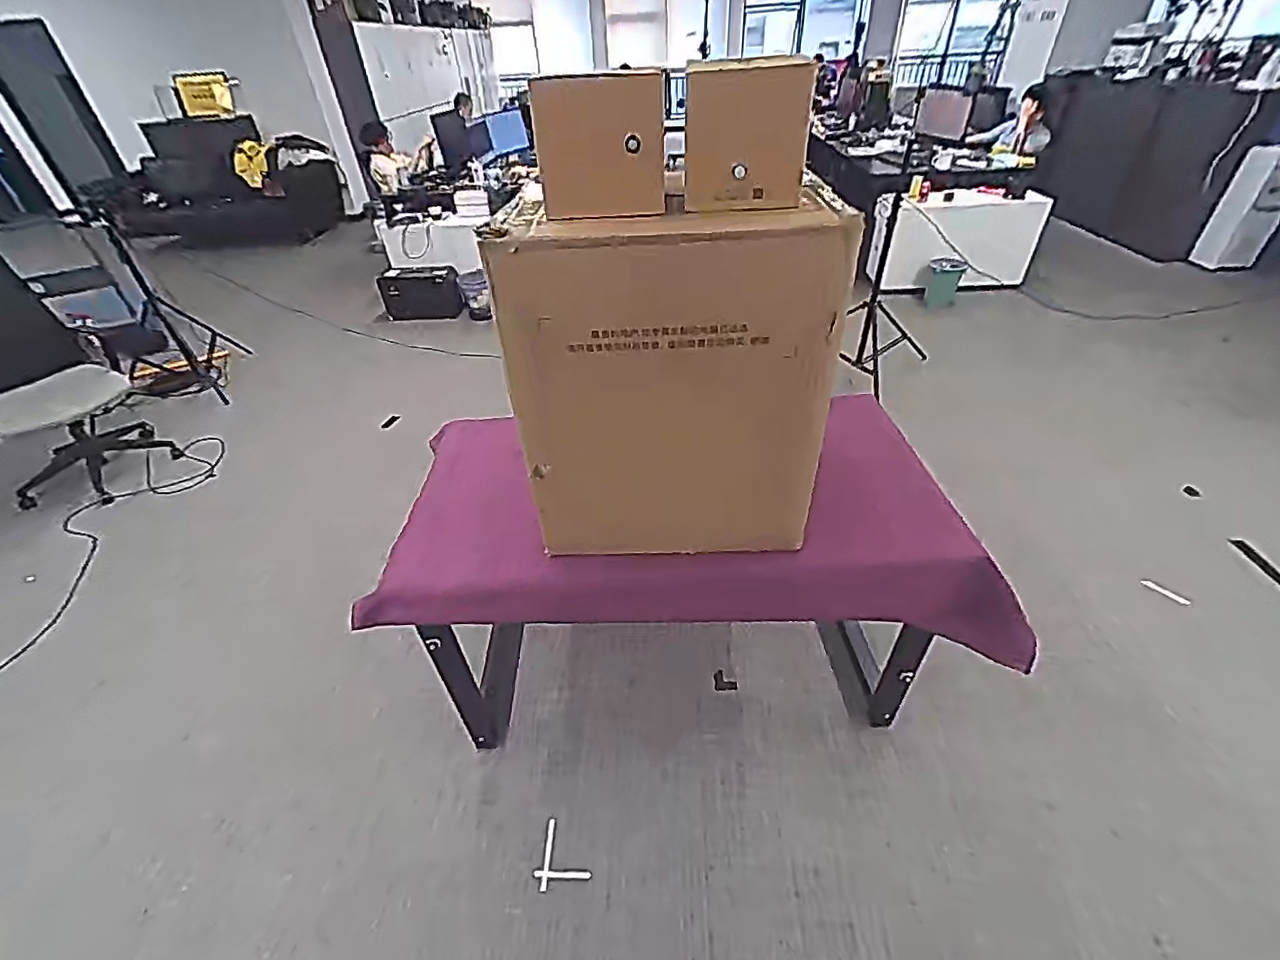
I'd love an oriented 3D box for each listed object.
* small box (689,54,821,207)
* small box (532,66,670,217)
[{"bbox_3d":[0.156,-0.510,0.790,0.168,0.176,0.179,0,40,7],"label":"small box"},{"bbox_3d":[-0.052,-0.495,0.789,0.179,0.176,0.168,-5,38,-2],"label":"small box"}]
